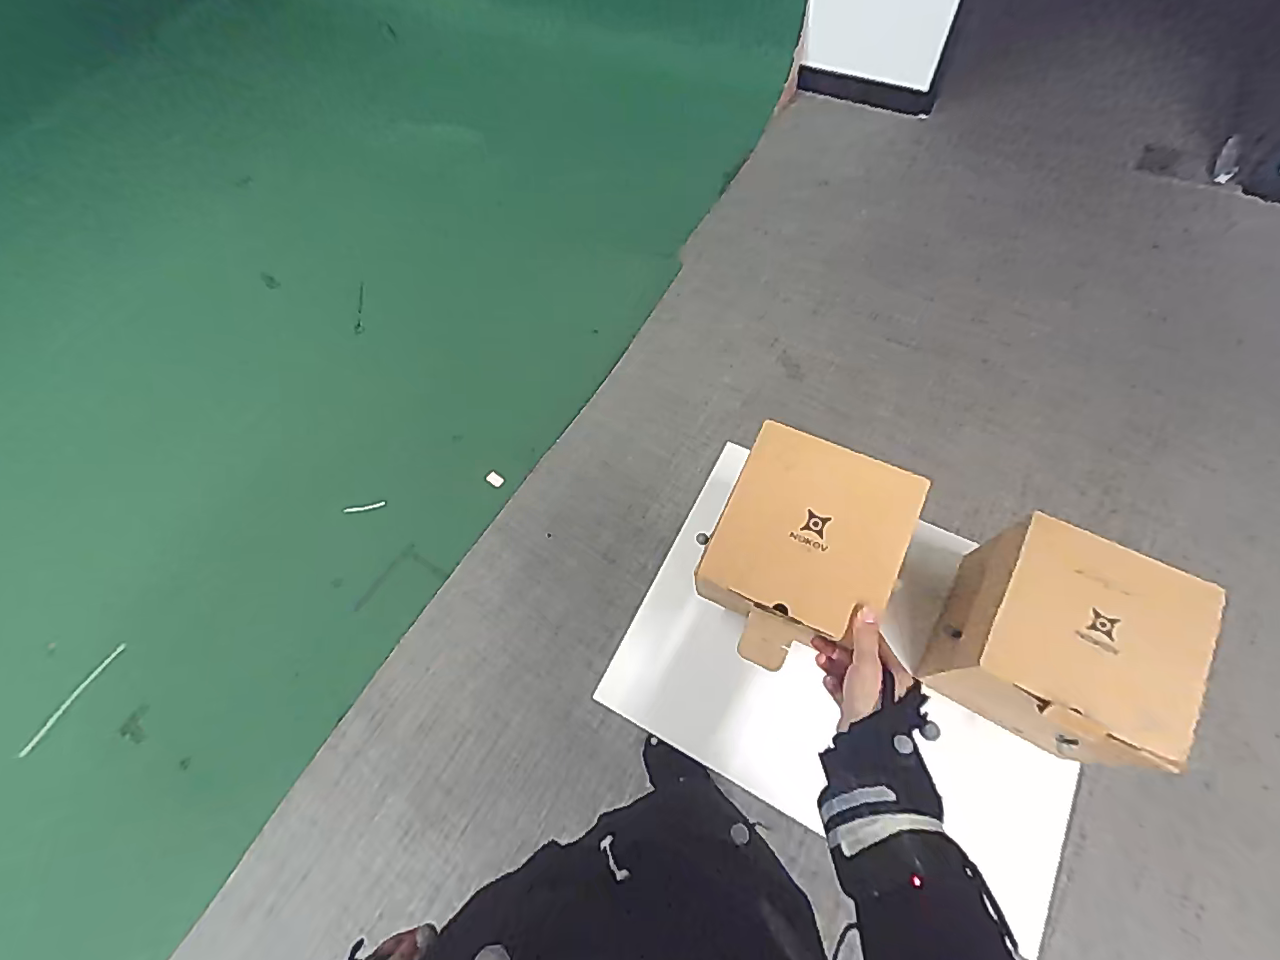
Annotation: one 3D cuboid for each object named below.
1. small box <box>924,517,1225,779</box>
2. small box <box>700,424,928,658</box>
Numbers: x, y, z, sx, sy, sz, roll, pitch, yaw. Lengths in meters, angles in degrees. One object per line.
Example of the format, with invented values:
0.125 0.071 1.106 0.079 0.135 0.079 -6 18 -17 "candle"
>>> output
0.422 0.172 0.558 0.168 0.176 0.179 27 71 17 "small box"
0.171 0.072 0.583 0.168 0.176 0.179 24 78 13 "small box"
